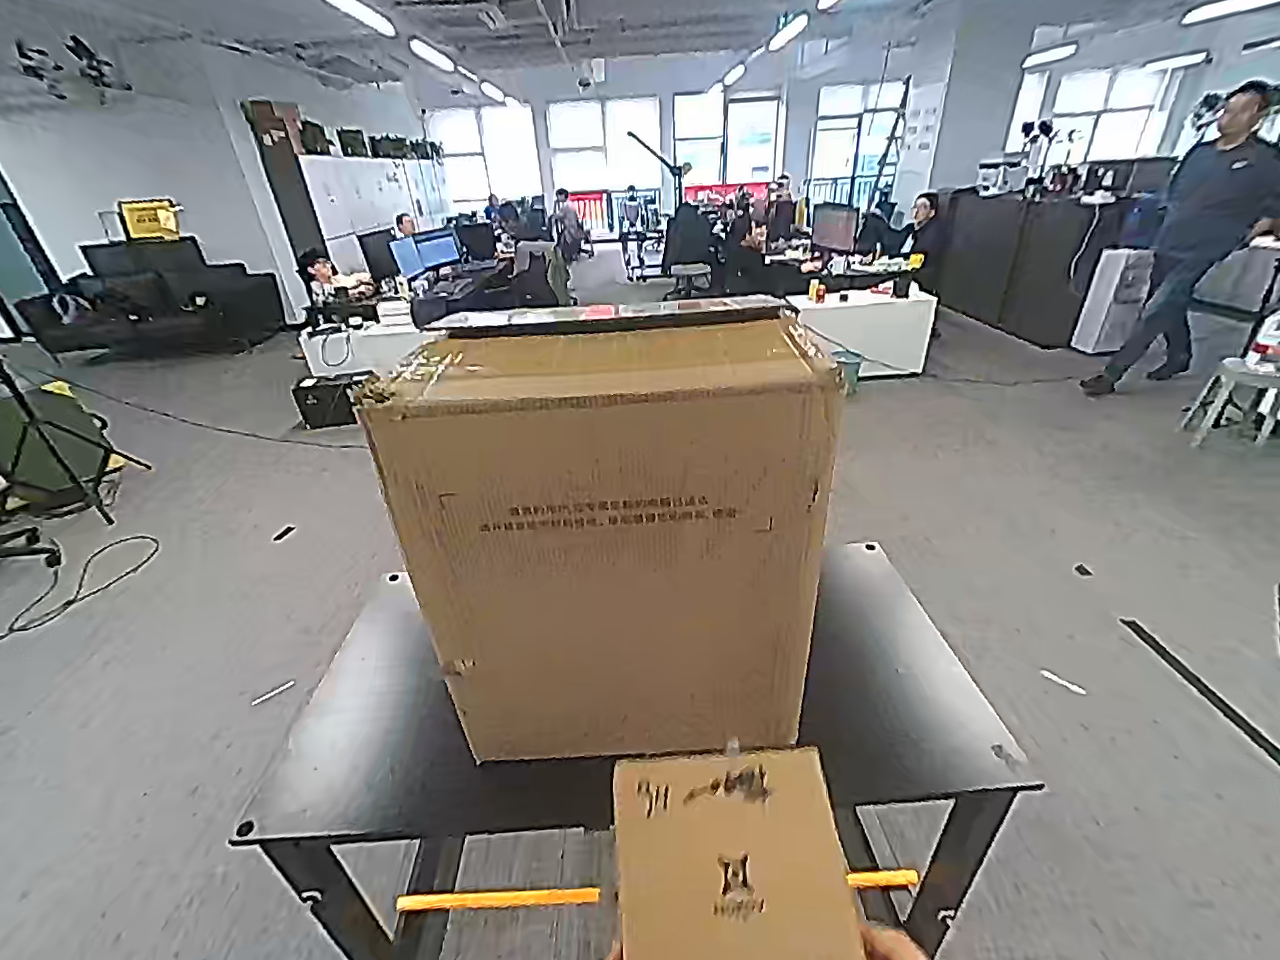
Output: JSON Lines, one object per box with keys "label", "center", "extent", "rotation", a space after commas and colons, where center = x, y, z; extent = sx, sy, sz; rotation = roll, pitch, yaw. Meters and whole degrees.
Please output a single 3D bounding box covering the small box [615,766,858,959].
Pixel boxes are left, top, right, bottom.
{"label": "small box", "center": [0.064, 0.350, 0.449], "extent": [0.168, 0.176, 0.179], "rotation": [-2, 54, -4]}
